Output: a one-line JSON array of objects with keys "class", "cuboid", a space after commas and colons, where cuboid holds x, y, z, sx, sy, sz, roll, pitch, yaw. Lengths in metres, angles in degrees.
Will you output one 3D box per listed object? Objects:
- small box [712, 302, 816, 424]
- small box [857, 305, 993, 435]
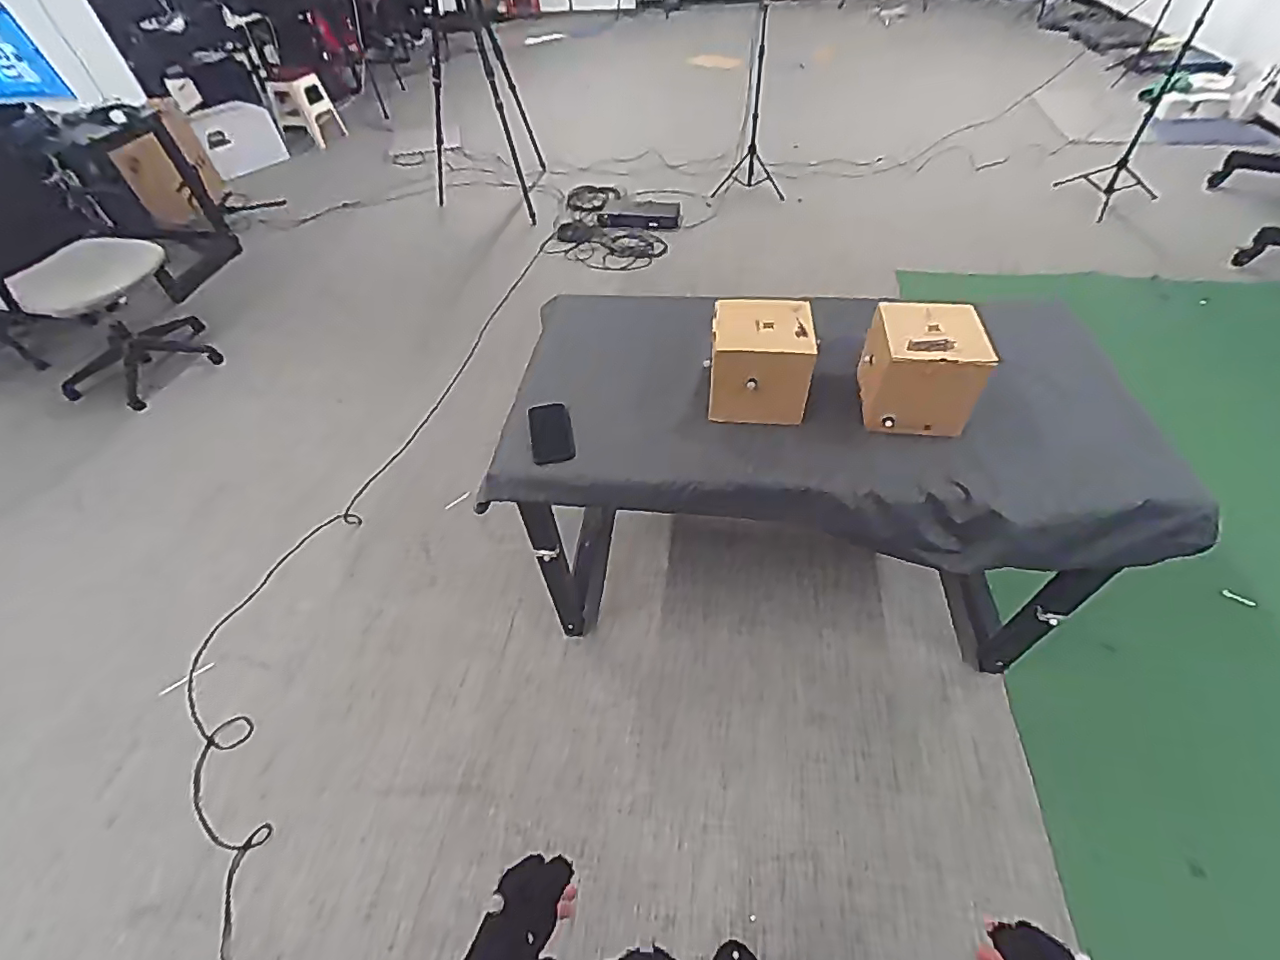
[{"class": "small box", "cuboid": [0.230, -0.223, 1.039, 0.179, 0.176, 0.168, 3, 50, 7]}, {"class": "small box", "cuboid": [0.512, -0.201, 1.002, 0.168, 0.176, 0.179, 5, 49, 8]}]
